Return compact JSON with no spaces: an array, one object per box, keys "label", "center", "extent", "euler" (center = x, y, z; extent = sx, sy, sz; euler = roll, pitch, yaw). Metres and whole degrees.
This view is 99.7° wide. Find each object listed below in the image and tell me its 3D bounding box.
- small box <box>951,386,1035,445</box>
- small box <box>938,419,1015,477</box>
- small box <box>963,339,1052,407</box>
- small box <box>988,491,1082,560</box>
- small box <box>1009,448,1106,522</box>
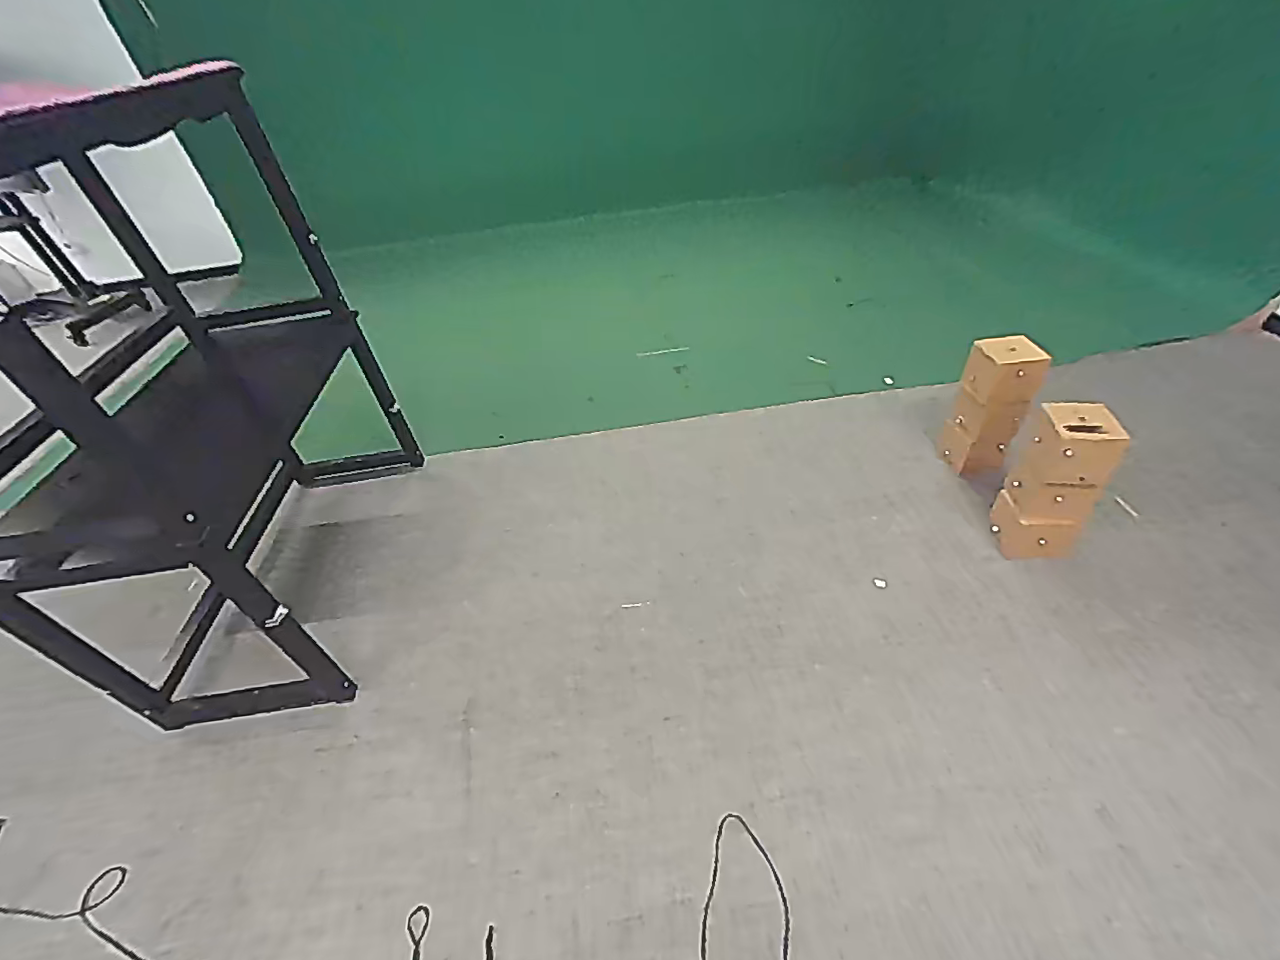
[{"label":"small box","center":[1.291,-0.252,1.994],"extent":[0.179,0.176,0.168],"euler":[-11,41,-3]},{"label":"small box","center":[1.301,-0.135,2.106],"extent":[0.179,0.176,0.168],"euler":[-10,41,-4]},{"label":"small box","center":[1.272,-0.372,1.886],"extent":[0.179,0.176,0.168],"euler":[-6,41,1]},{"label":"small box","center":[1.296,0.151,1.788],"extent":[0.179,0.176,0.168],"euler":[-2,42,7]},{"label":"small box","center":[1.291,0.017,1.693],"extent":[0.179,0.176,0.168],"euler":[1,42,10]}]
